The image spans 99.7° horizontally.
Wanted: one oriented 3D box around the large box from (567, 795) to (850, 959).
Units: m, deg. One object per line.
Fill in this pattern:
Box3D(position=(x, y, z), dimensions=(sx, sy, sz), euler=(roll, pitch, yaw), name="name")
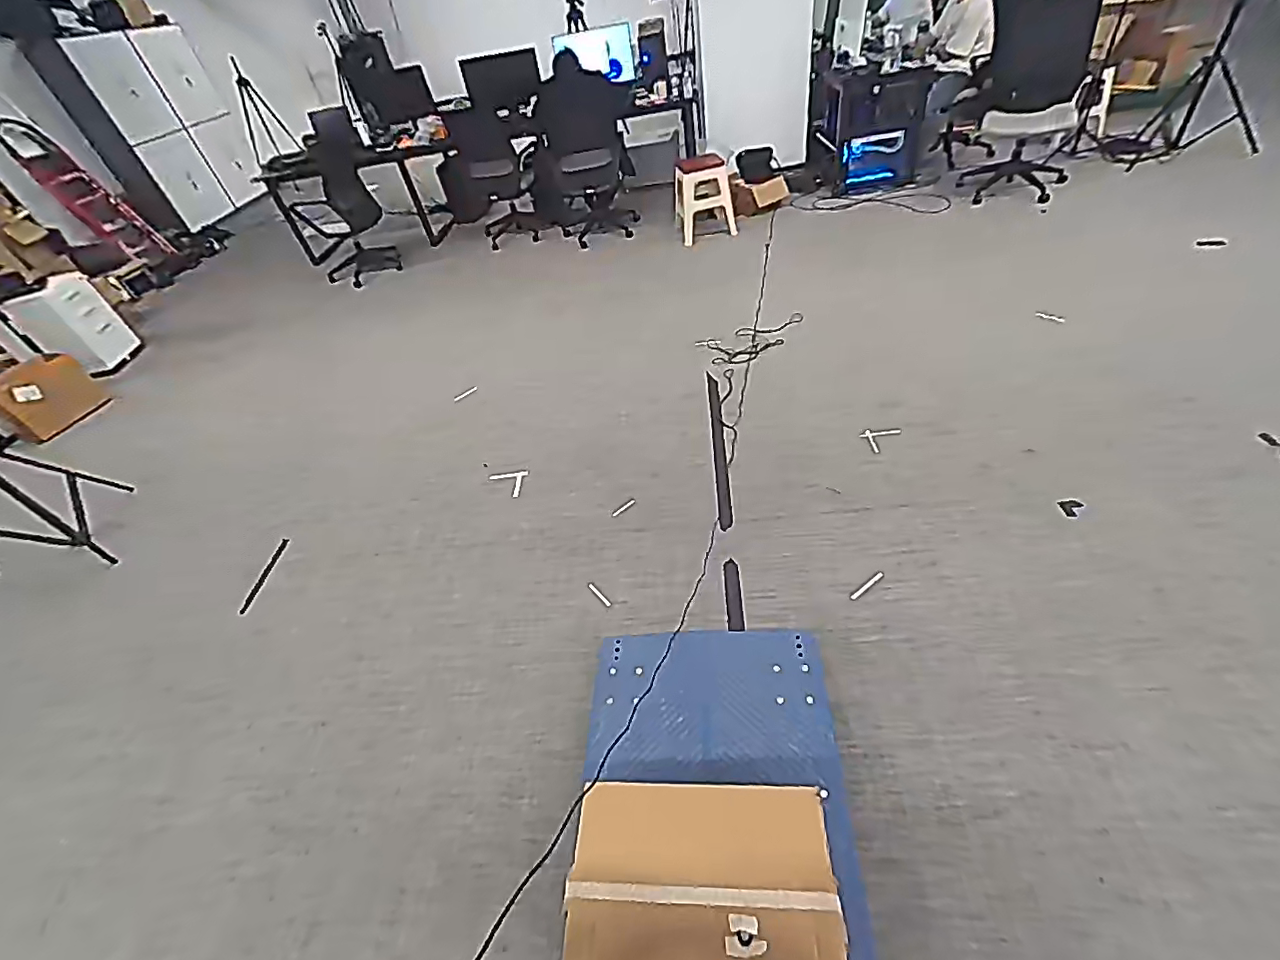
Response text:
Box3D(position=(0.114, 0.747, 0.893), dimensions=(0.408, 0.320, 0.320), euler=(-4, 43, 9), name="large box")
